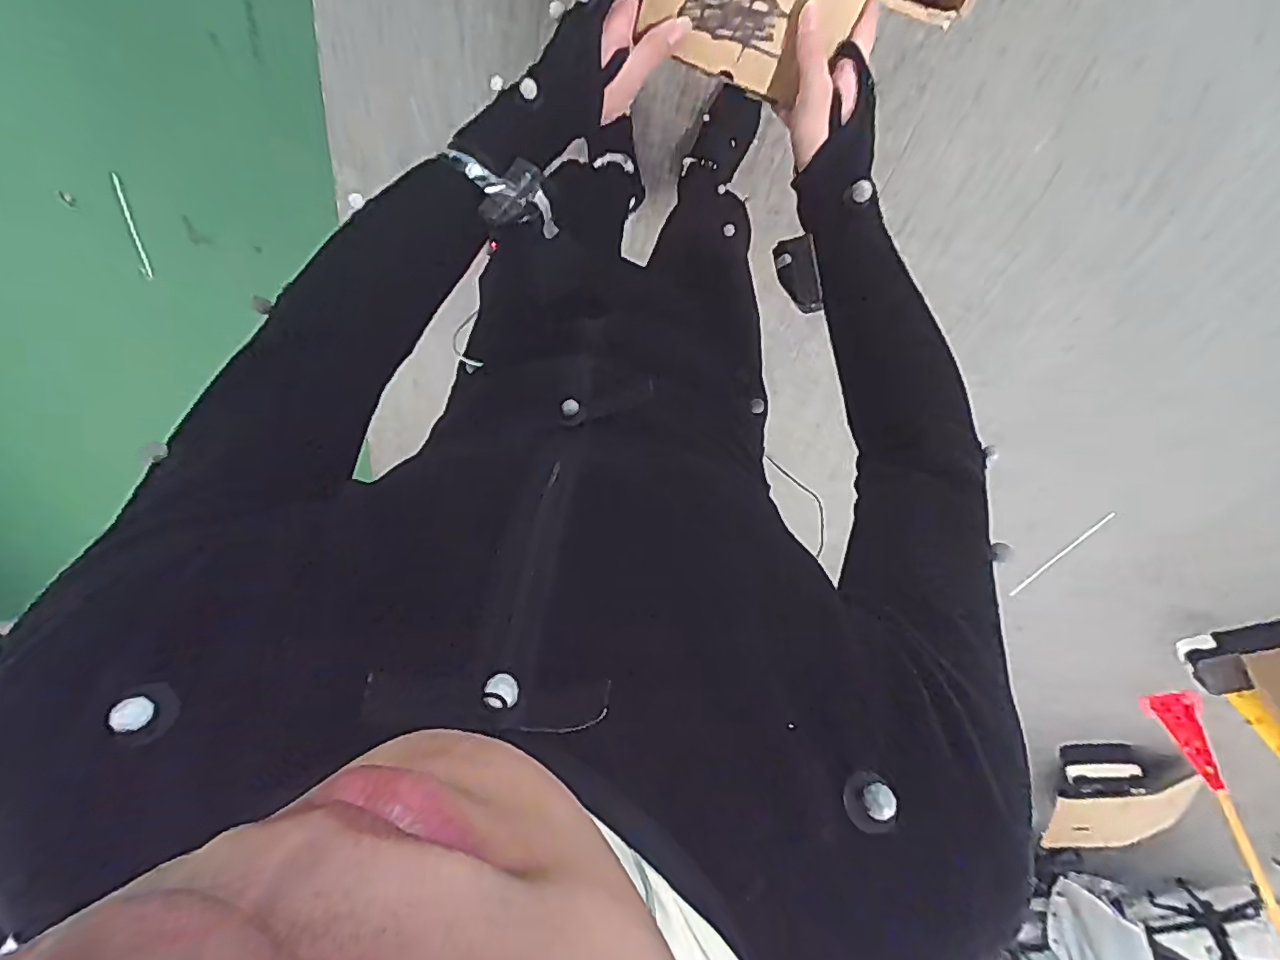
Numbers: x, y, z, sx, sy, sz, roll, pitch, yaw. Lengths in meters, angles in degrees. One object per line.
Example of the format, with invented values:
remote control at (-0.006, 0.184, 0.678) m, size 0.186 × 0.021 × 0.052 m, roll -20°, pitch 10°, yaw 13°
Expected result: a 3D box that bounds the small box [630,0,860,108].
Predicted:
small box at (0.096, -0.453, 0.444) m, size 0.168 × 0.176 × 0.179 m, roll 12°, pitch 135°, yaw -14°
